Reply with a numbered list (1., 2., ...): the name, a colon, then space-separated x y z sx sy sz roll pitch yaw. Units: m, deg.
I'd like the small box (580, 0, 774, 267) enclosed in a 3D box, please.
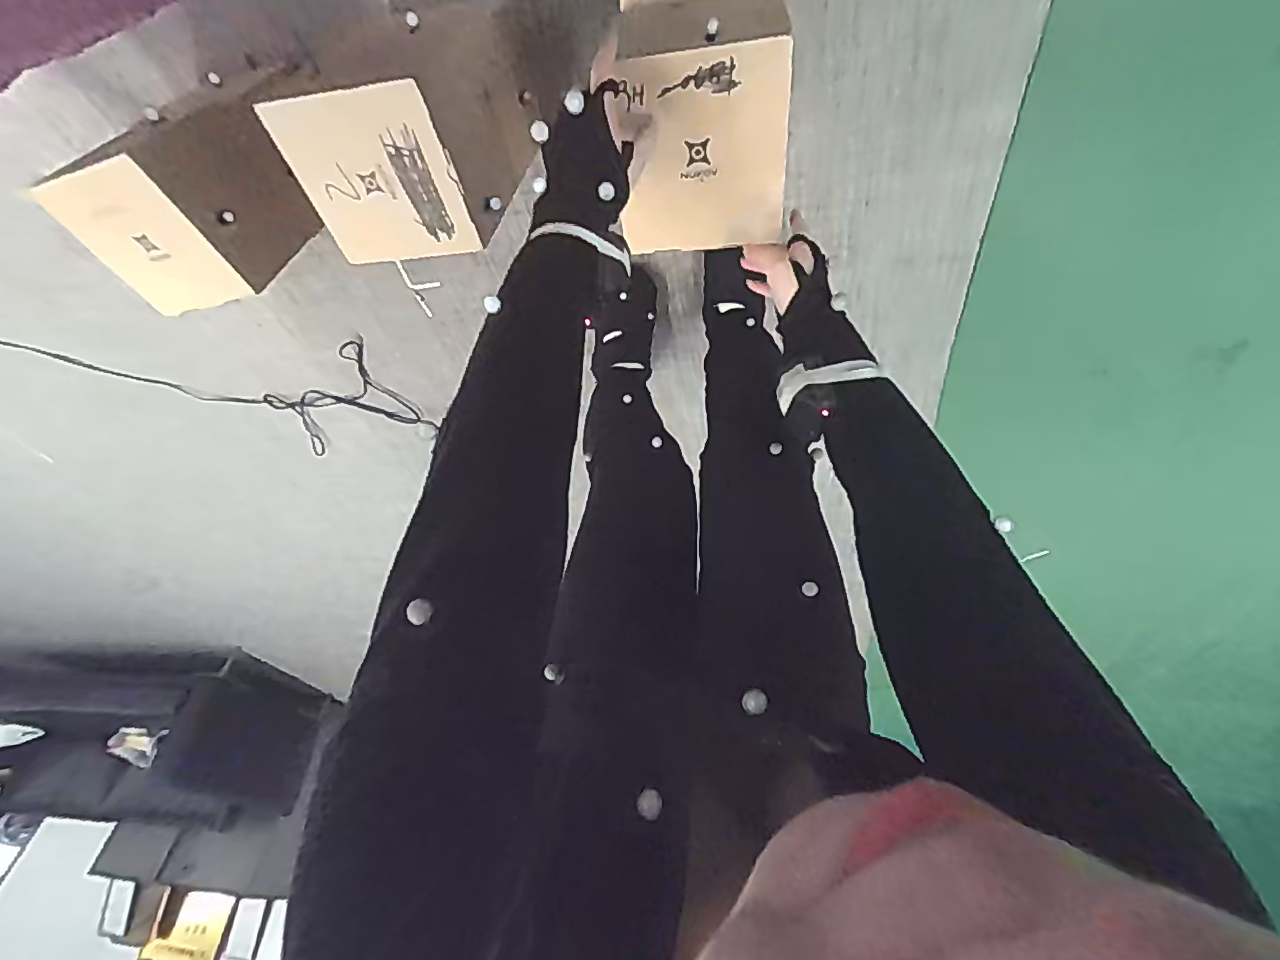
1. small box: 0.049 -0.358 0.565 0.168 0.176 0.179 -6 143 12
